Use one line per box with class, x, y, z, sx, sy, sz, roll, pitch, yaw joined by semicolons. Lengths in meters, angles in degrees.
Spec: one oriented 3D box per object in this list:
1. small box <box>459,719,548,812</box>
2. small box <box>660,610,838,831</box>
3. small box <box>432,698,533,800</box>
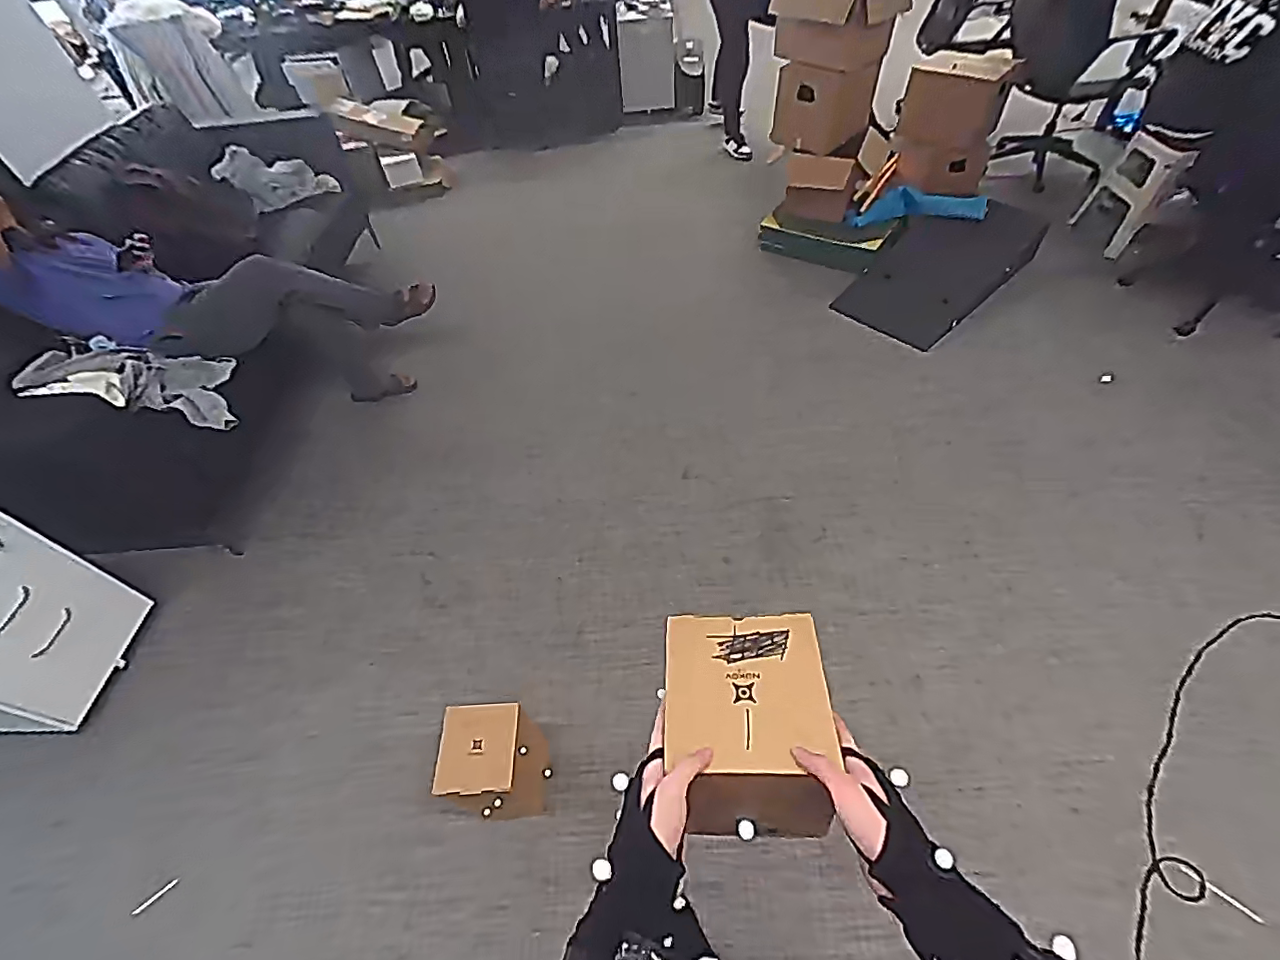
small box;-0.331;0.711;1.345;0.168;0.176;0.179;-4;51;3
small box;0.114;0.268;0.612;0.168;0.176;0.179;-4;41;8
small box;-0.344;0.610;1.219;0.168;0.176;0.179;-4;50;1
